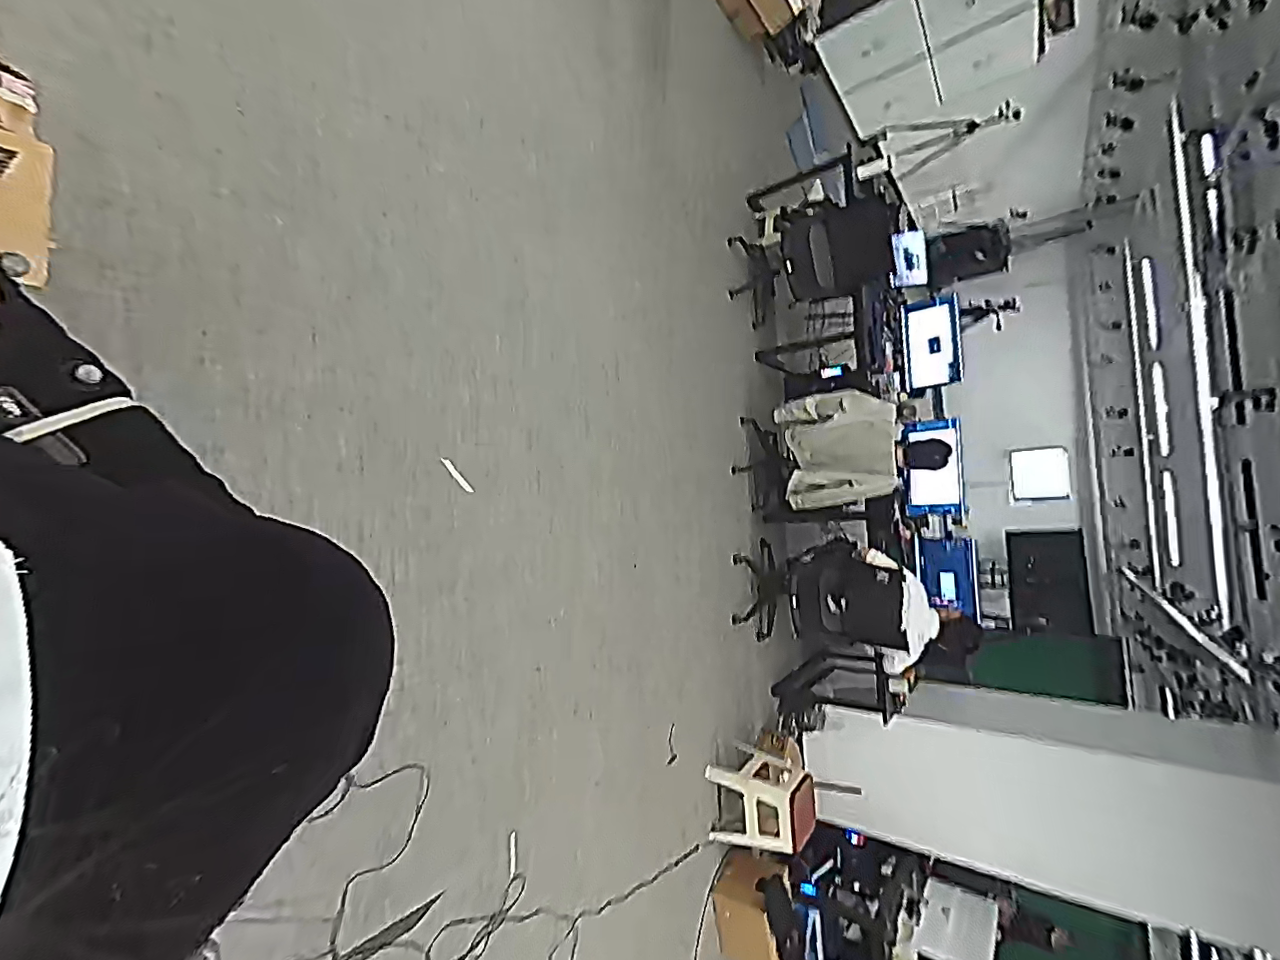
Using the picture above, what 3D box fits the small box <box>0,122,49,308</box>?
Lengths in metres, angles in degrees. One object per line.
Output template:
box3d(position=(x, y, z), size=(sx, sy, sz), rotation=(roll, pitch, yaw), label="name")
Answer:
box3d(position=(-0.811, -0.317, 0.612), size=(0.168, 0.176, 0.179), rotation=(4, 85, -54), label="small box")
